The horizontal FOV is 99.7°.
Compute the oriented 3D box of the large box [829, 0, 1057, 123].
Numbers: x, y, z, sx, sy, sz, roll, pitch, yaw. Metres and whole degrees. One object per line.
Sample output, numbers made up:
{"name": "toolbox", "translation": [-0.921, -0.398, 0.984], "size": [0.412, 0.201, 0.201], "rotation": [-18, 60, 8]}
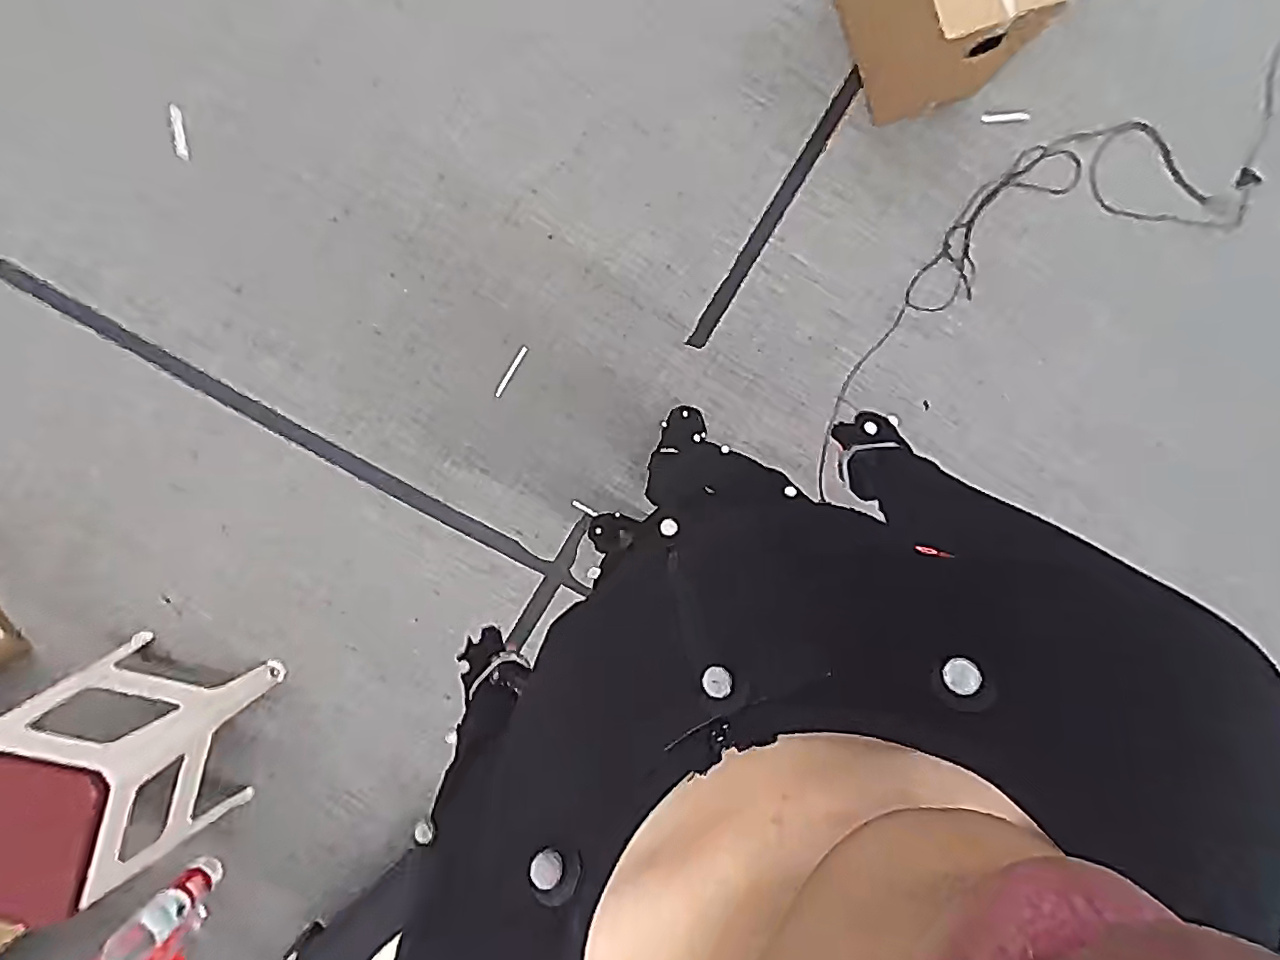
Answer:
{"name": "large box", "translation": [0.722, -1.217, 1.350], "size": [0.320, 0.320, 0.408], "rotation": [-21, 94, -3]}
